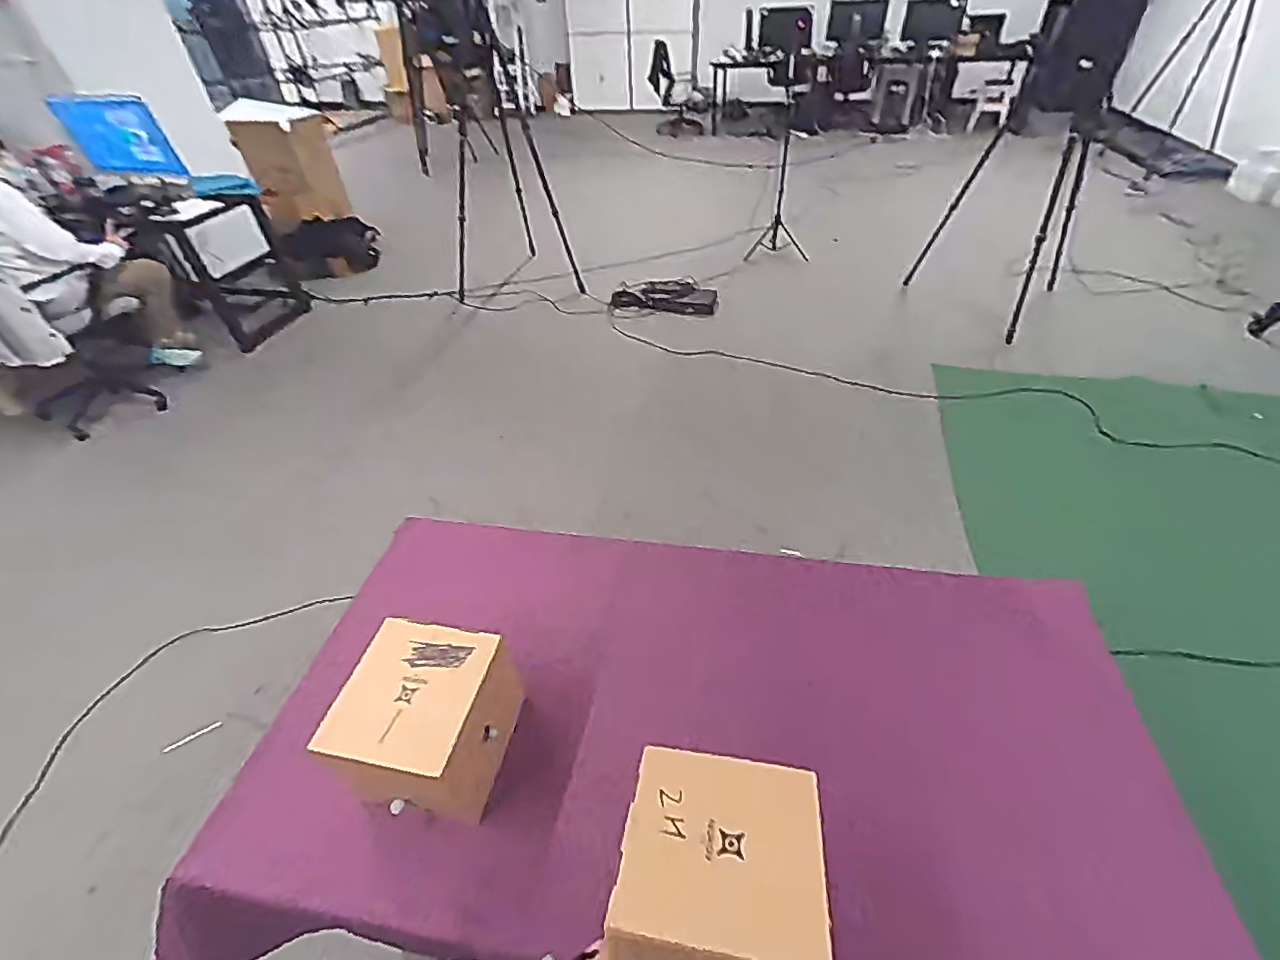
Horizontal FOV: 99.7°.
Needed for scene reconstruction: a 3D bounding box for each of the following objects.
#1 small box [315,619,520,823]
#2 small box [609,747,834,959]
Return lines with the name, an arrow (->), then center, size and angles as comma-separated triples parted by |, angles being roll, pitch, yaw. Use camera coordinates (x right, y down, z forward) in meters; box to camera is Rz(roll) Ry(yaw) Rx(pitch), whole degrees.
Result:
small box -> -0.268, 0.312, 0.705 | 0.168, 0.176, 0.179 | 6, 44, 10
small box -> 0.079, 0.396, 0.521 | 0.179, 0.176, 0.168 | 2, 27, 12
